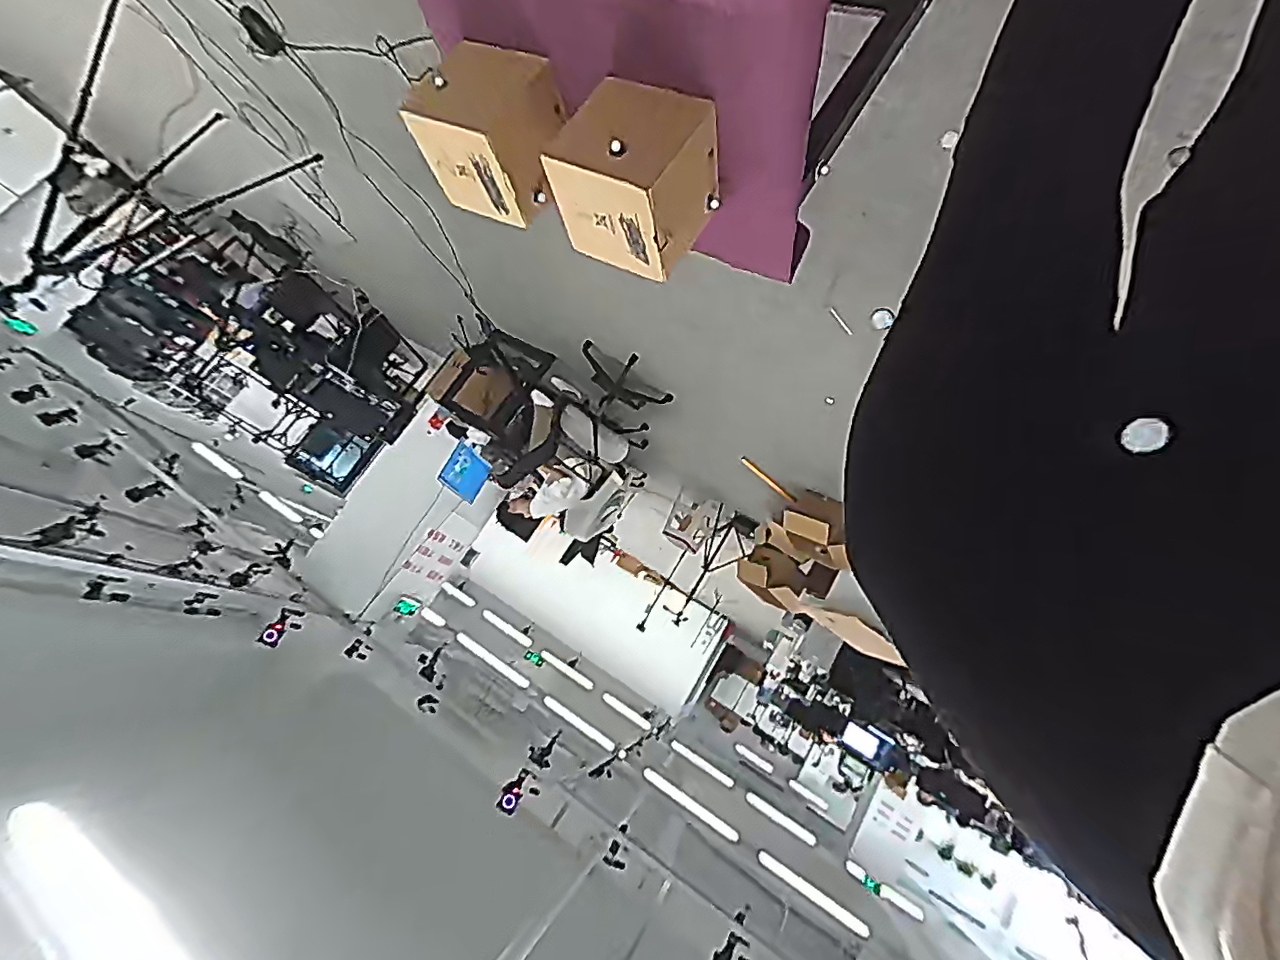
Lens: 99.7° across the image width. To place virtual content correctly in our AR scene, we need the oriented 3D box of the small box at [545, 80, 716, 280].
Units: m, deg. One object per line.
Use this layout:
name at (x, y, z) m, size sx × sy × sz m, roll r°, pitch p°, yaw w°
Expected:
small box at (0.000, -0.430, 0.777) m, size 0.179 × 0.176 × 0.168 m, roll 30°, pitch 165°, yaw 20°
